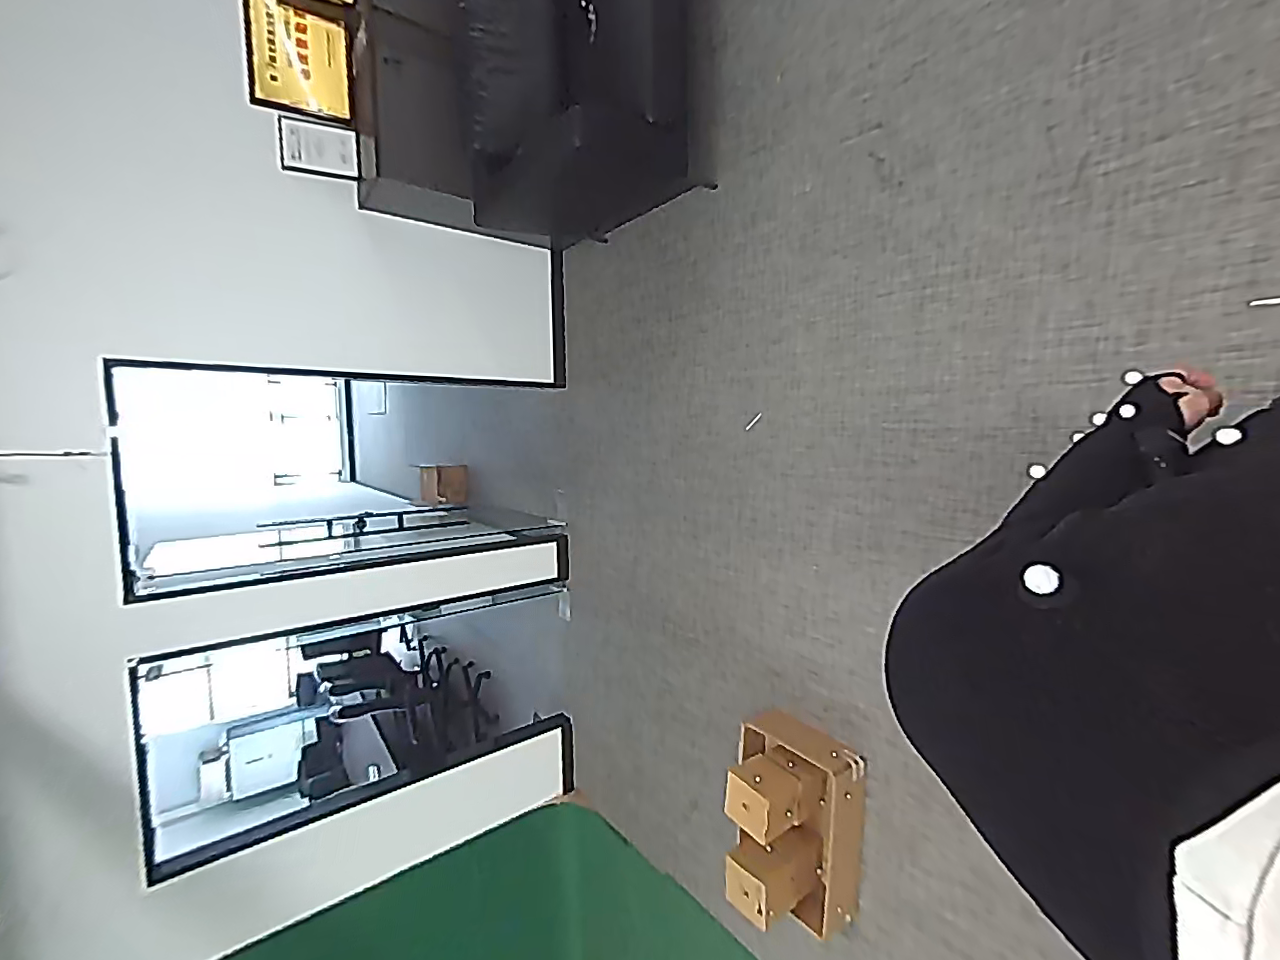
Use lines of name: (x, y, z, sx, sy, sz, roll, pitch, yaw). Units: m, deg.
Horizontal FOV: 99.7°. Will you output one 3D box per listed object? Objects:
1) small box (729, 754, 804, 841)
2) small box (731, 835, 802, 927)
small box: (0.431, 1.069, 1.842, 0.179, 0.176, 0.168, 14, 104, 49)
small box: (0.436, 1.368, 1.867, 0.179, 0.176, 0.168, 5, 98, 52)
